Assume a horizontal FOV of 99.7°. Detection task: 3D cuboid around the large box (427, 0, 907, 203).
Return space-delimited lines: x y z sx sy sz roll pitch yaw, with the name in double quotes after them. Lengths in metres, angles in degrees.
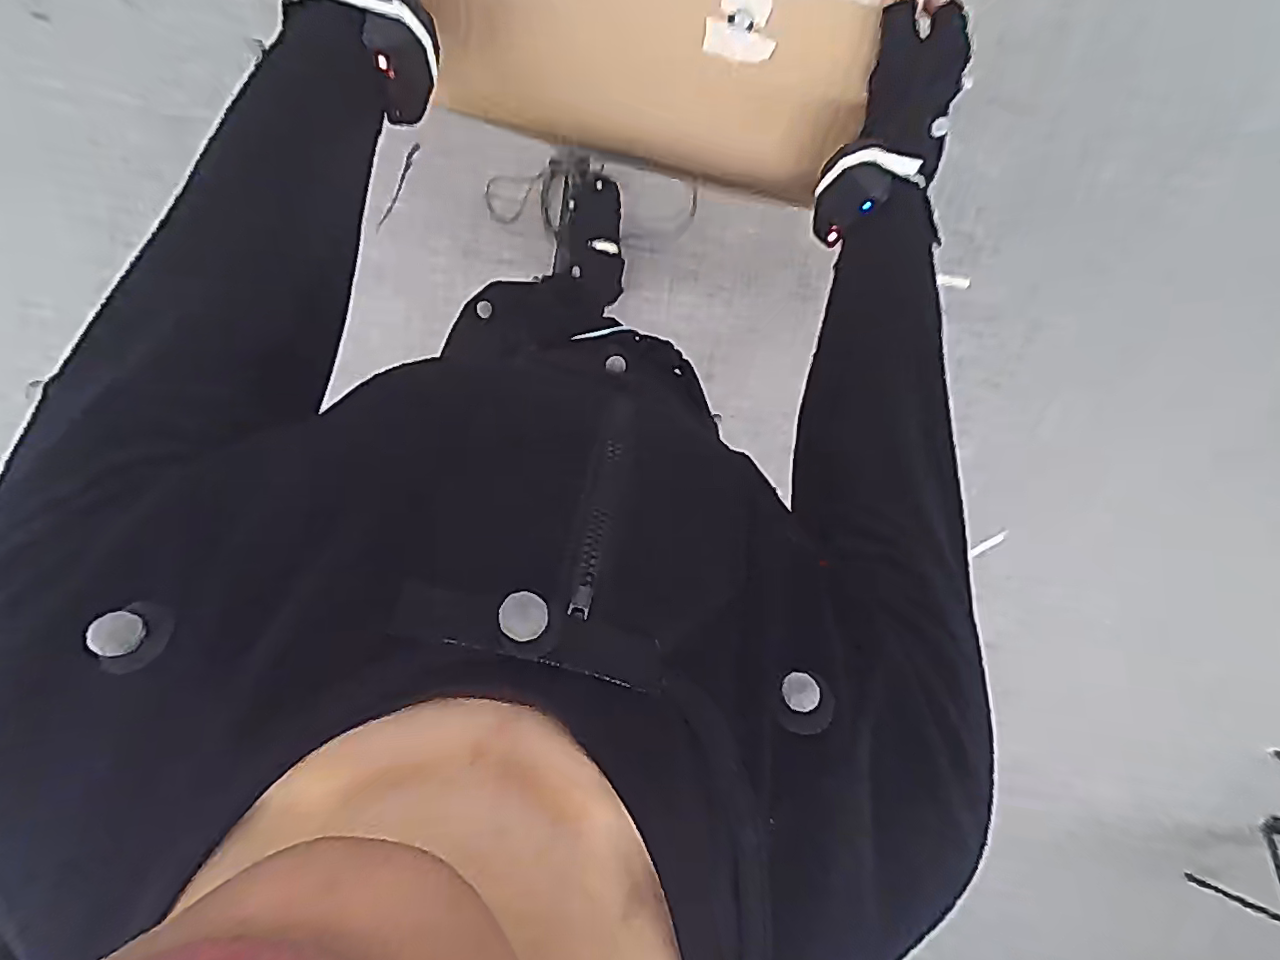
0.029 -0.506 0.570 0.408 0.320 0.320 11 118 -6 "large box"
